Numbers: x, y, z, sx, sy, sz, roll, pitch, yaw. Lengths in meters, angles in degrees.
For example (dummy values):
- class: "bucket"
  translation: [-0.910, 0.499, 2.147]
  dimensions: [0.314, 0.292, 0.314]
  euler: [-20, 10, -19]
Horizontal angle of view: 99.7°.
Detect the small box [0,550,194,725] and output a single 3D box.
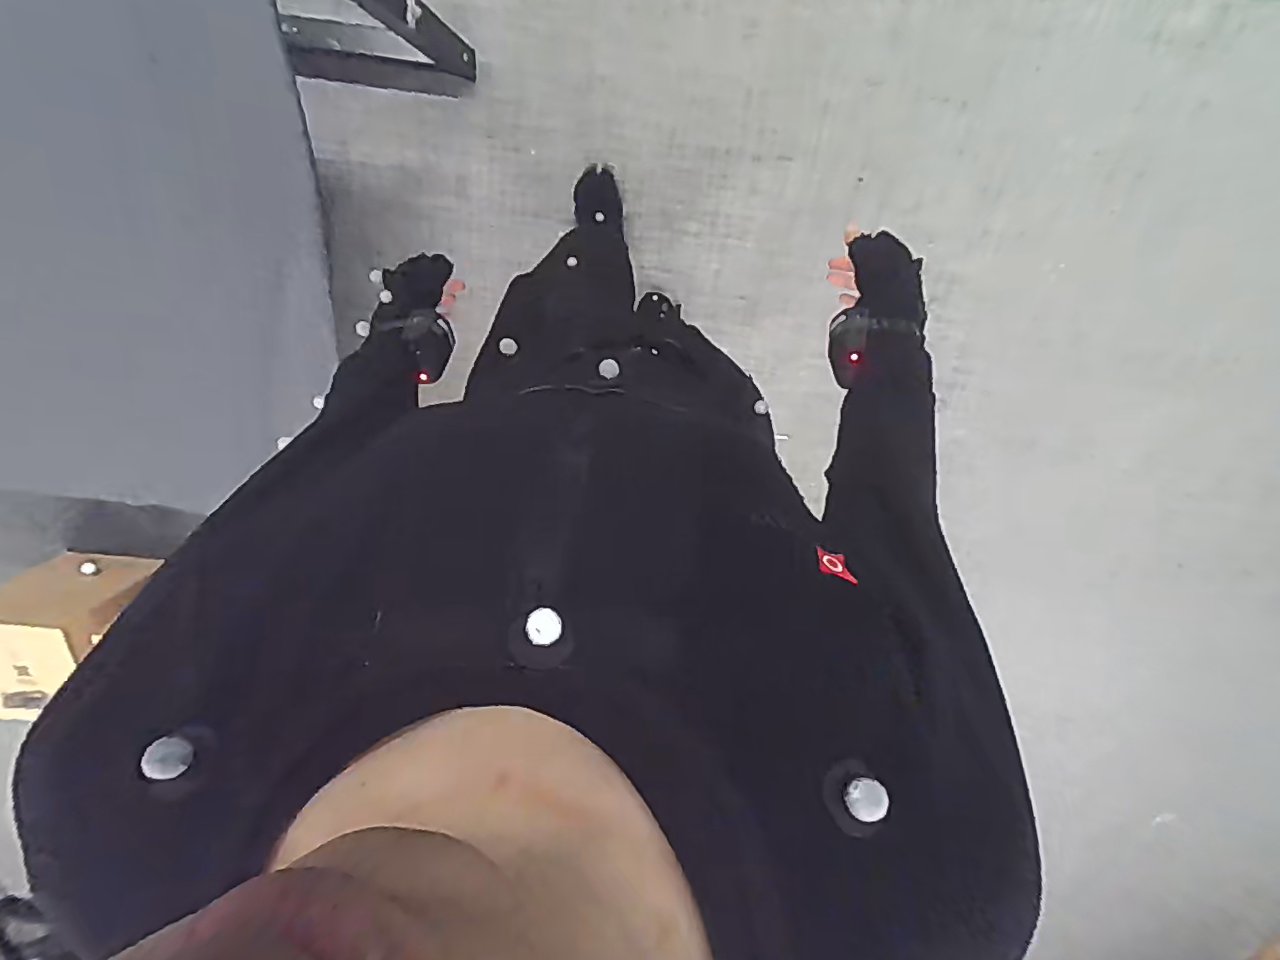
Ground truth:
- class: "small box"
  translation: [-0.817, 0.227, 0.802]
  dimensions: [0.168, 0.176, 0.179]
  euler: [5, 113, 1]
